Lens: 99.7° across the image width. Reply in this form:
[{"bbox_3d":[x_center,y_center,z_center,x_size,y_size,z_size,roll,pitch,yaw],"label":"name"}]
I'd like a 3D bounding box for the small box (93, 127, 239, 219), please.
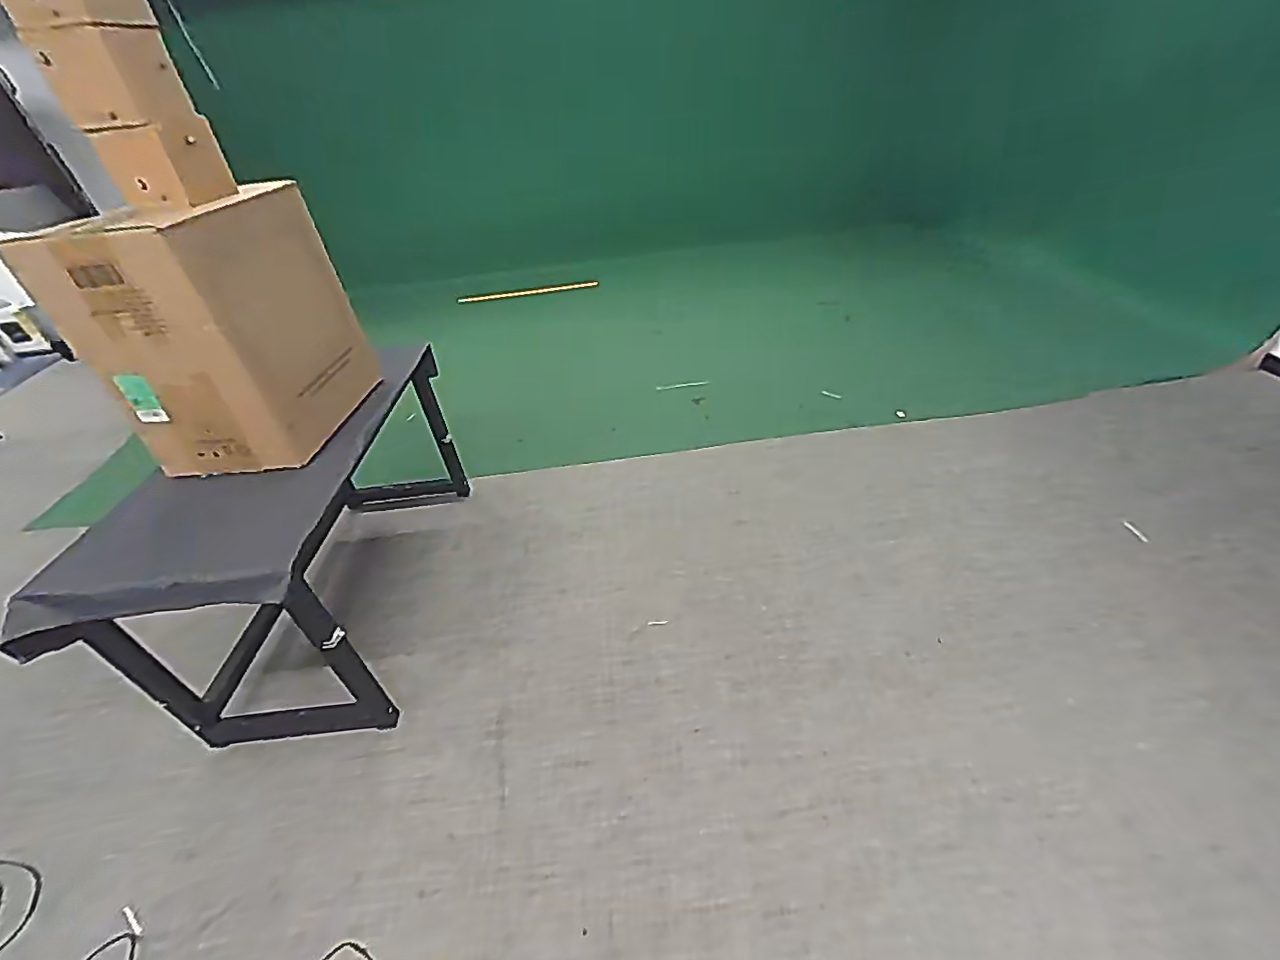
[{"bbox_3d":[-1.109,-0.732,1.290,0.168,0.176,0.179,-1,38,5],"label":"small box"}]

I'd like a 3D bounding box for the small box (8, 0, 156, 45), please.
[{"bbox_3d":[-1.135,-0.986,1.083,0.168,0.176,0.179,0,38,6],"label":"small box"}]
